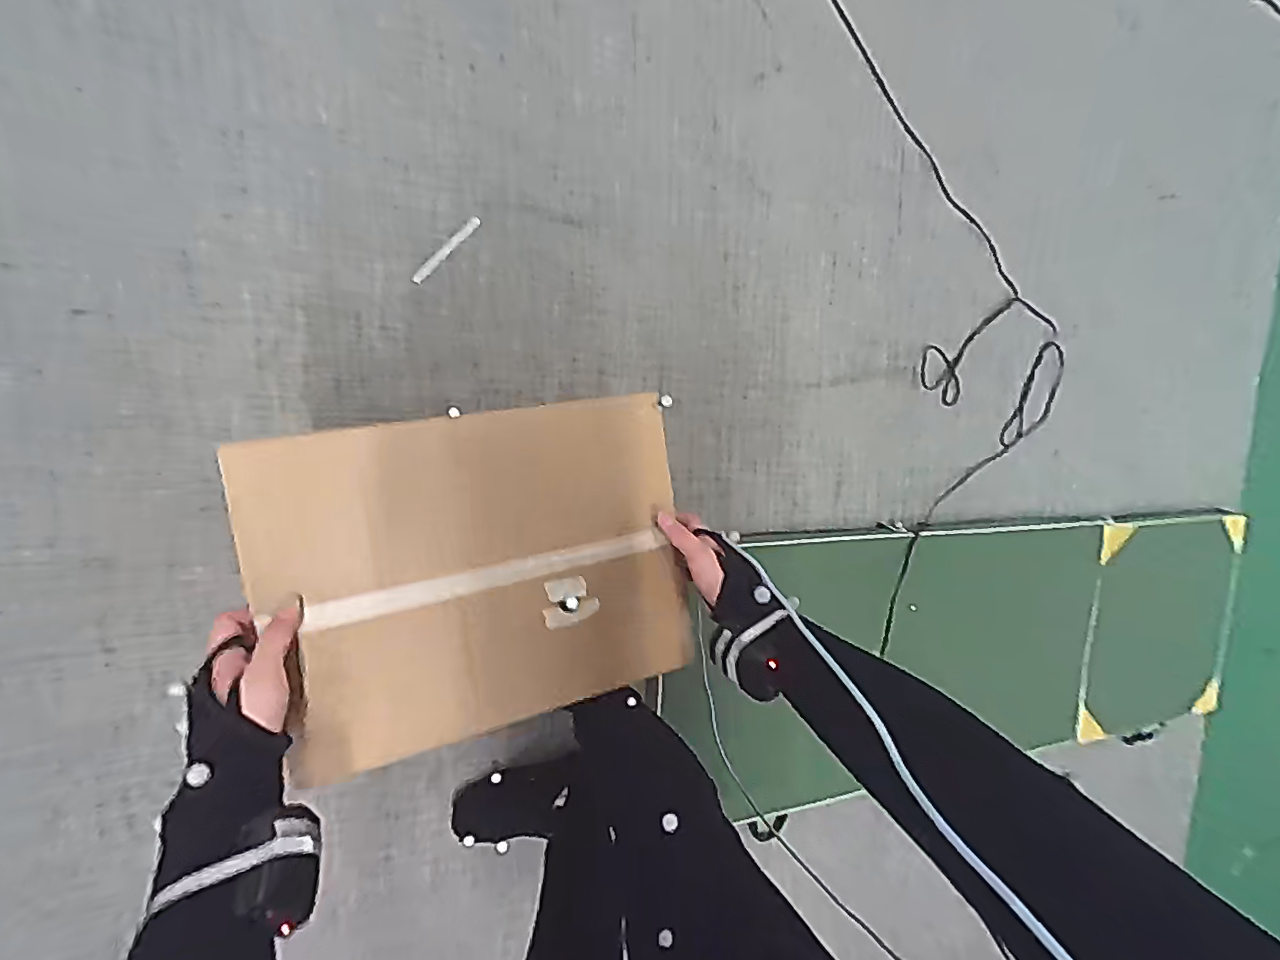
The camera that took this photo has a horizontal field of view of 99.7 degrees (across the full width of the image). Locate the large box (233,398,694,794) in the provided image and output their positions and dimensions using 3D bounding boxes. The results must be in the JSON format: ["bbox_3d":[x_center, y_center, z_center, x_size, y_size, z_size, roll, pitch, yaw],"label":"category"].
[{"bbox_3d":[-0.198,0.092,0.678,0.408,0.320,0.320,-11,98,-22],"label":"large box"}]
